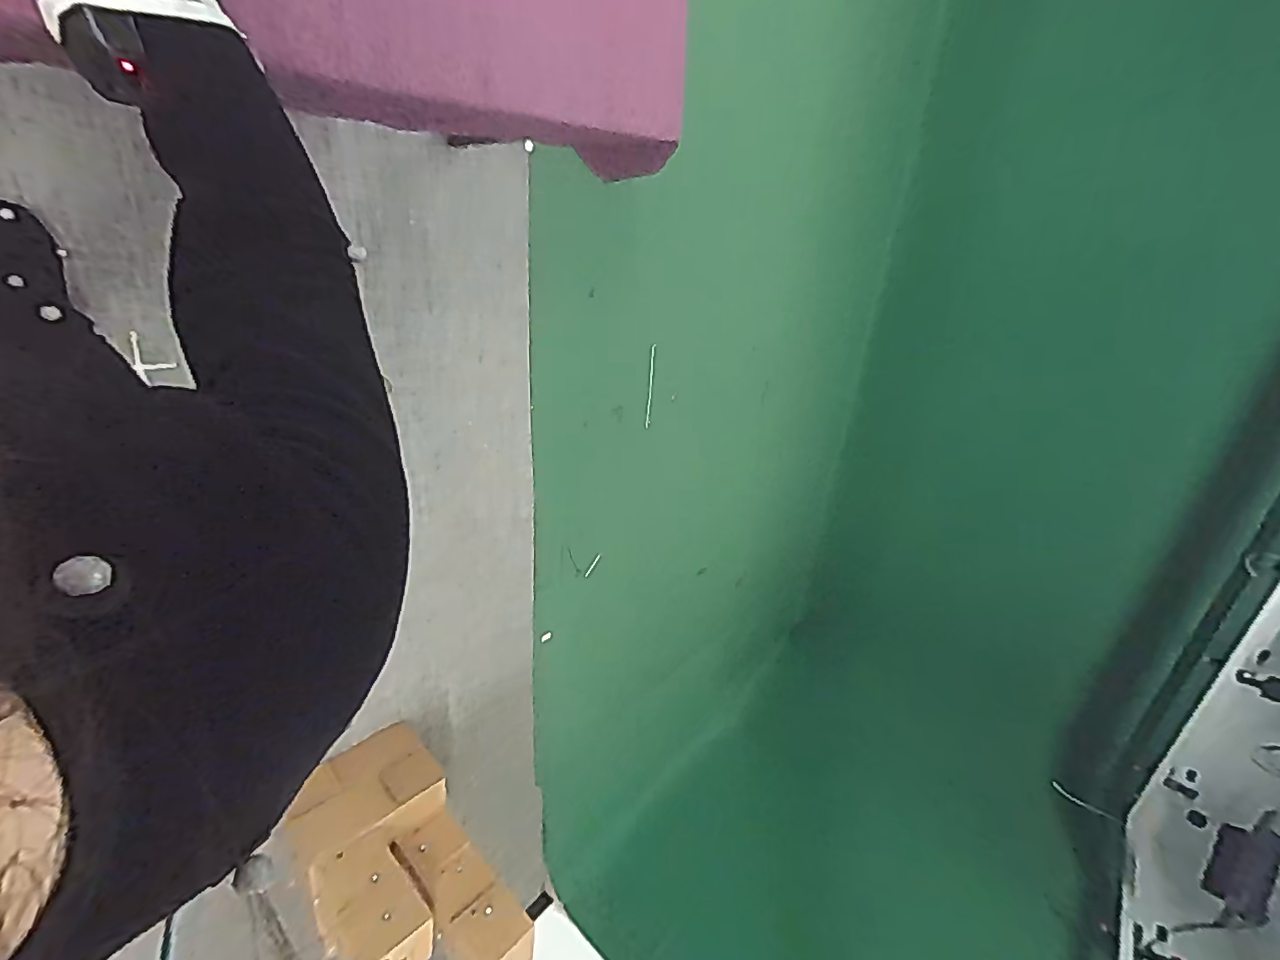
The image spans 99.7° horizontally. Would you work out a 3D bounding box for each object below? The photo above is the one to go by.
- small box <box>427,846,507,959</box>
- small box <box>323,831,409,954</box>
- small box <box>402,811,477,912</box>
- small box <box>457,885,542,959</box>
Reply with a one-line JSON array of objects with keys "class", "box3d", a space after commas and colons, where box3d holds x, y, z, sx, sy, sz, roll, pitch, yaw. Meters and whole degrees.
[{"class": "small box", "box3d": [-0.515, 1.250, 1.606, 0.168, 0.176, 0.179, -17, 121, -46]}, {"class": "small box", "box3d": [-0.762, 1.136, 1.504, 0.168, 0.176, 0.179, -15, 122, -47]}, {"class": "small box", "box3d": [-0.632, 1.191, 1.704, 0.168, 0.176, 0.179, -17, 124, -46]}, {"class": "small box", "box3d": [-0.393, 1.292, 1.505, 0.168, 0.176, 0.179, -17, 122, -46]}]
